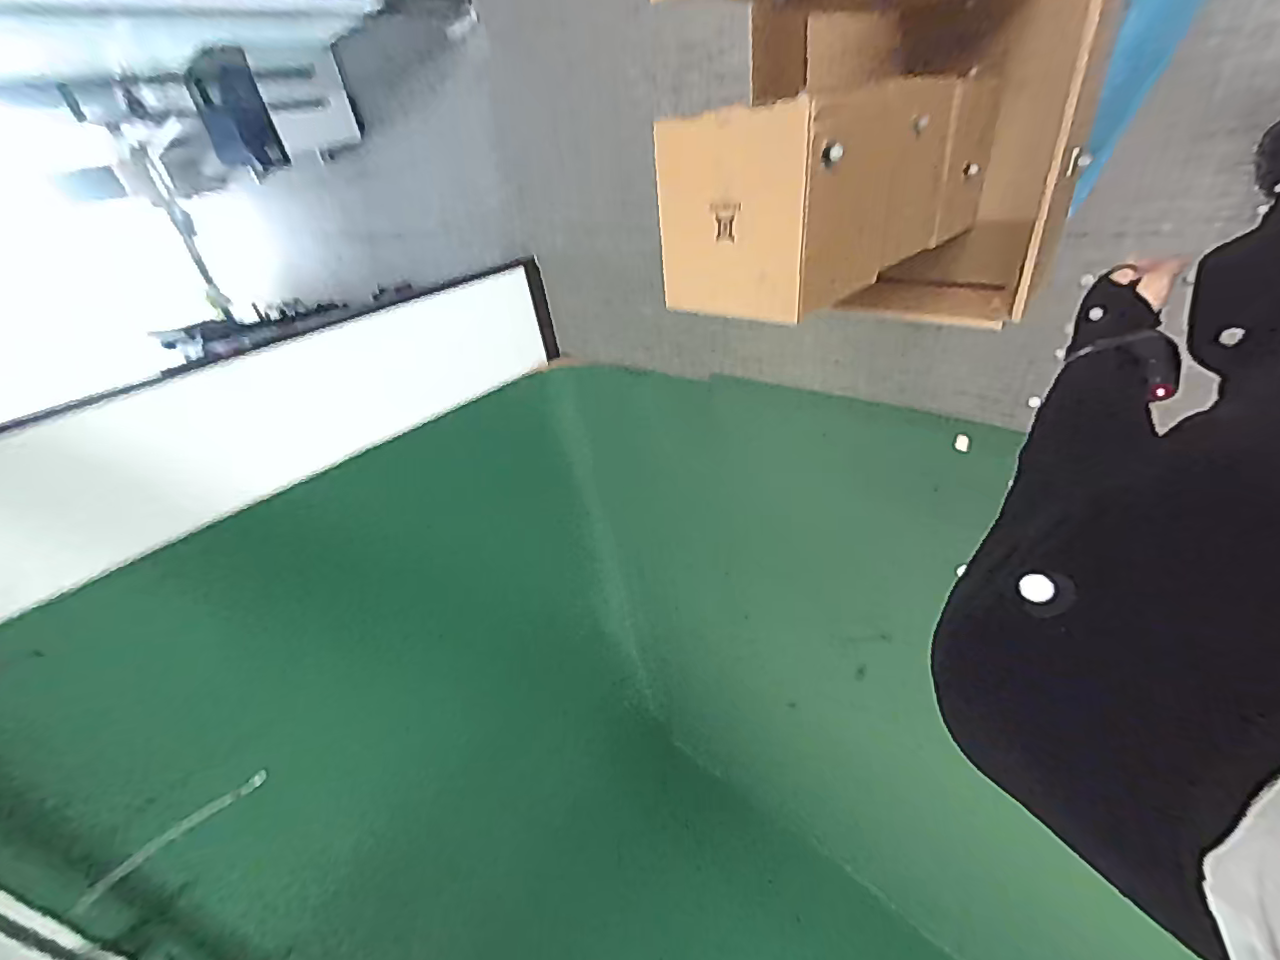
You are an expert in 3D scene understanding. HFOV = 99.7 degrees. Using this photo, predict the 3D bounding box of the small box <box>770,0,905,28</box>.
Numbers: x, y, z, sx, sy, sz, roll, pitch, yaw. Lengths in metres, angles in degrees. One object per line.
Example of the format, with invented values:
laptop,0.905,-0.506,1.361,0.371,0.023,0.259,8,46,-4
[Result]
small box,0.234,-0.558,0.504,0.168,0.176,0.179,20,135,39
